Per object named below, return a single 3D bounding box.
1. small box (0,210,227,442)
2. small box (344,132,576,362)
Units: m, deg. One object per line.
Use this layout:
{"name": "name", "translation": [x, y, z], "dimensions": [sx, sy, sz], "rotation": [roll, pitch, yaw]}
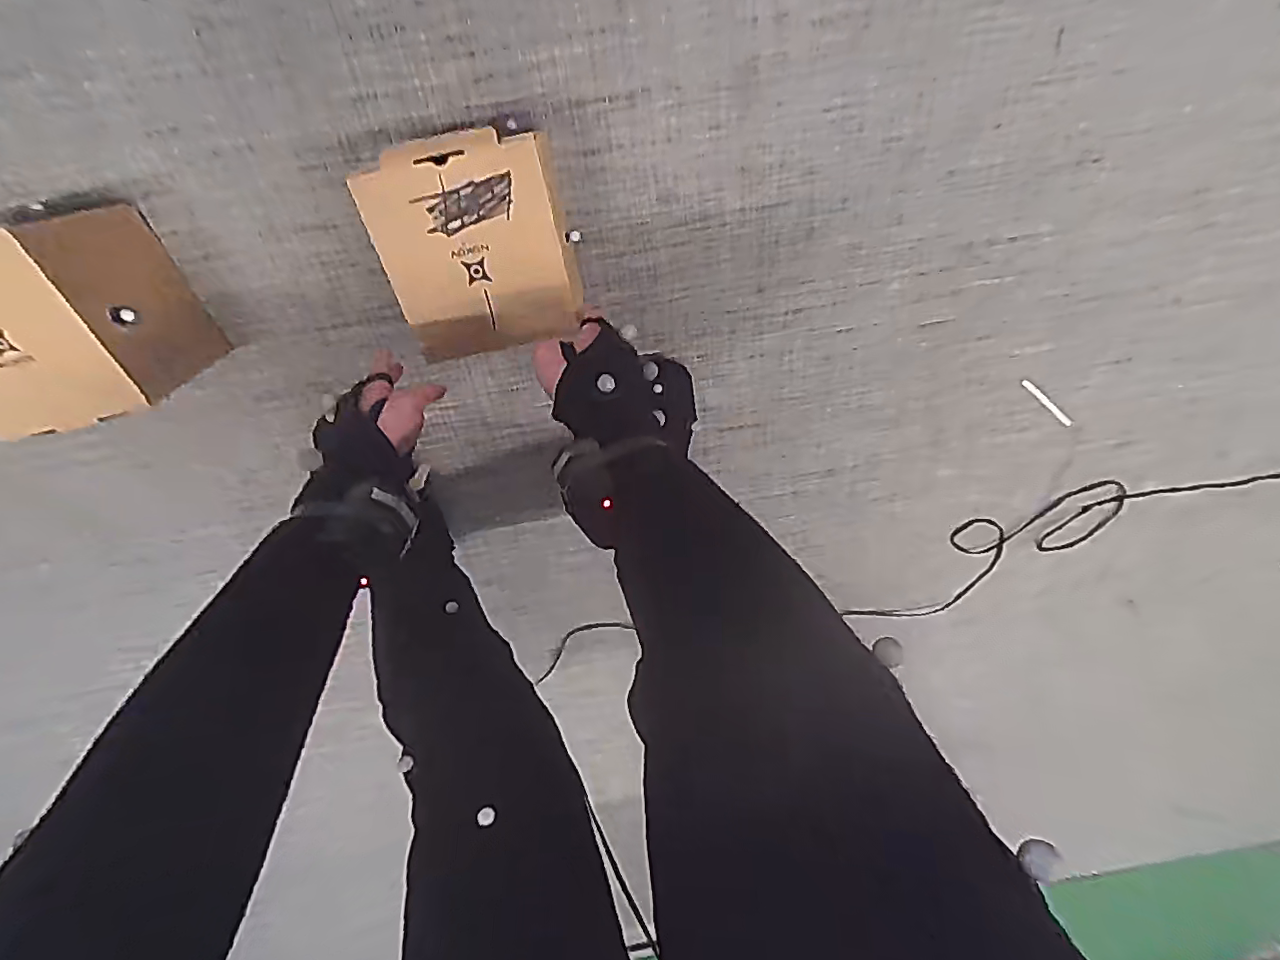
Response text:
{"name": "small box", "translation": [-0.606, -0.170, 0.581], "dimensions": [0.168, 0.176, 0.179], "rotation": [-15, 123, 2]}
{"name": "small box", "translation": [-0.166, -0.249, 0.569], "dimensions": [0.168, 0.176, 0.179], "rotation": [-11, 124, 3]}
